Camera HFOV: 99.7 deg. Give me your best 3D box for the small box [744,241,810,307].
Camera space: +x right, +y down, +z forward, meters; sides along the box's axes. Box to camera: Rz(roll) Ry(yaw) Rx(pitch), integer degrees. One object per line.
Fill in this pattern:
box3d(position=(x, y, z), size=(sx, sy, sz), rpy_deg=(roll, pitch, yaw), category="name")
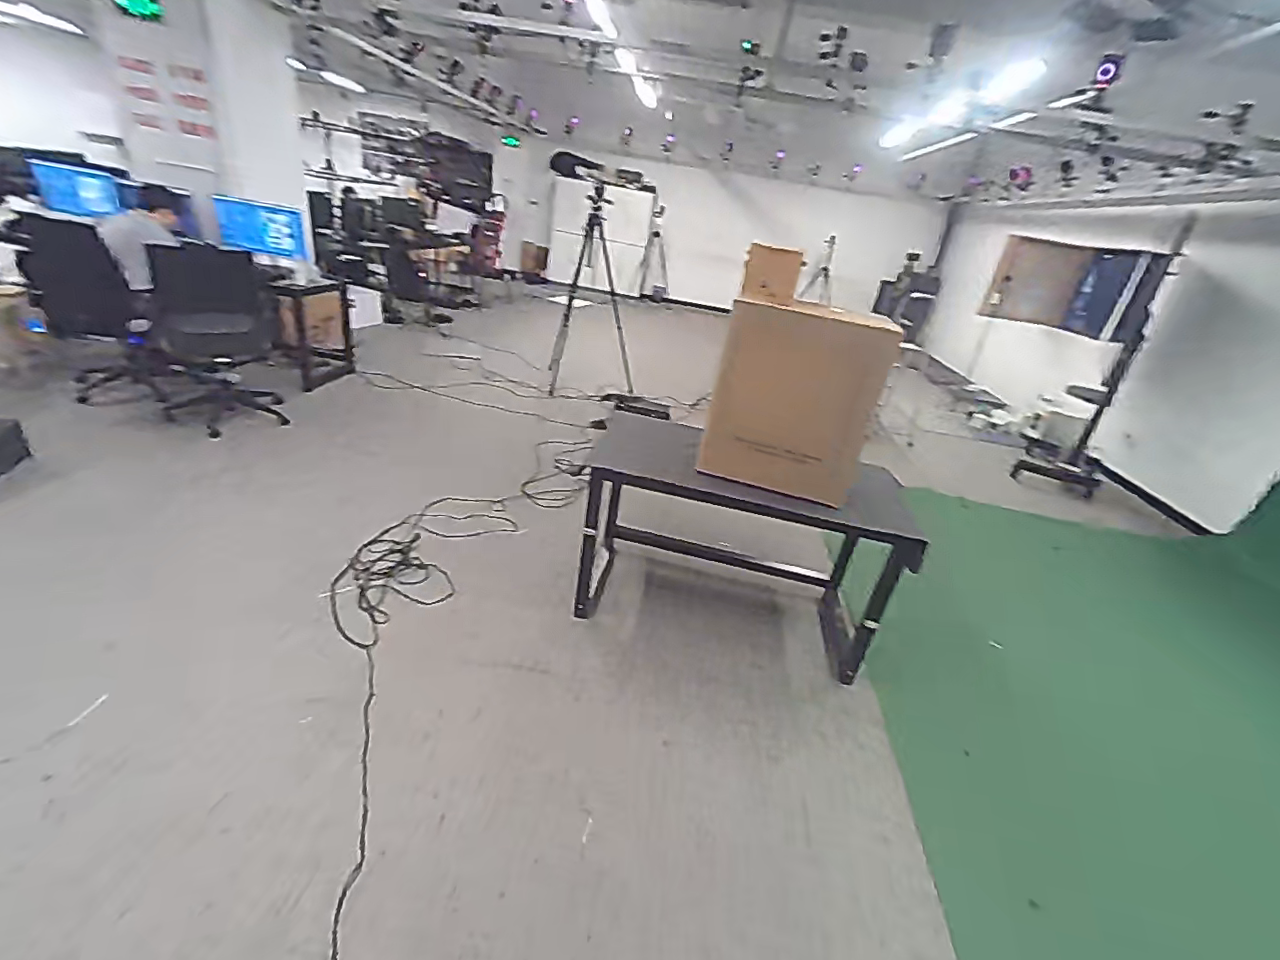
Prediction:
box3d(position=(0.446, -0.674, 1.765), size=(0.168, 0.176, 0.179), rpy_deg=(16, 30, 13), category="small box")
